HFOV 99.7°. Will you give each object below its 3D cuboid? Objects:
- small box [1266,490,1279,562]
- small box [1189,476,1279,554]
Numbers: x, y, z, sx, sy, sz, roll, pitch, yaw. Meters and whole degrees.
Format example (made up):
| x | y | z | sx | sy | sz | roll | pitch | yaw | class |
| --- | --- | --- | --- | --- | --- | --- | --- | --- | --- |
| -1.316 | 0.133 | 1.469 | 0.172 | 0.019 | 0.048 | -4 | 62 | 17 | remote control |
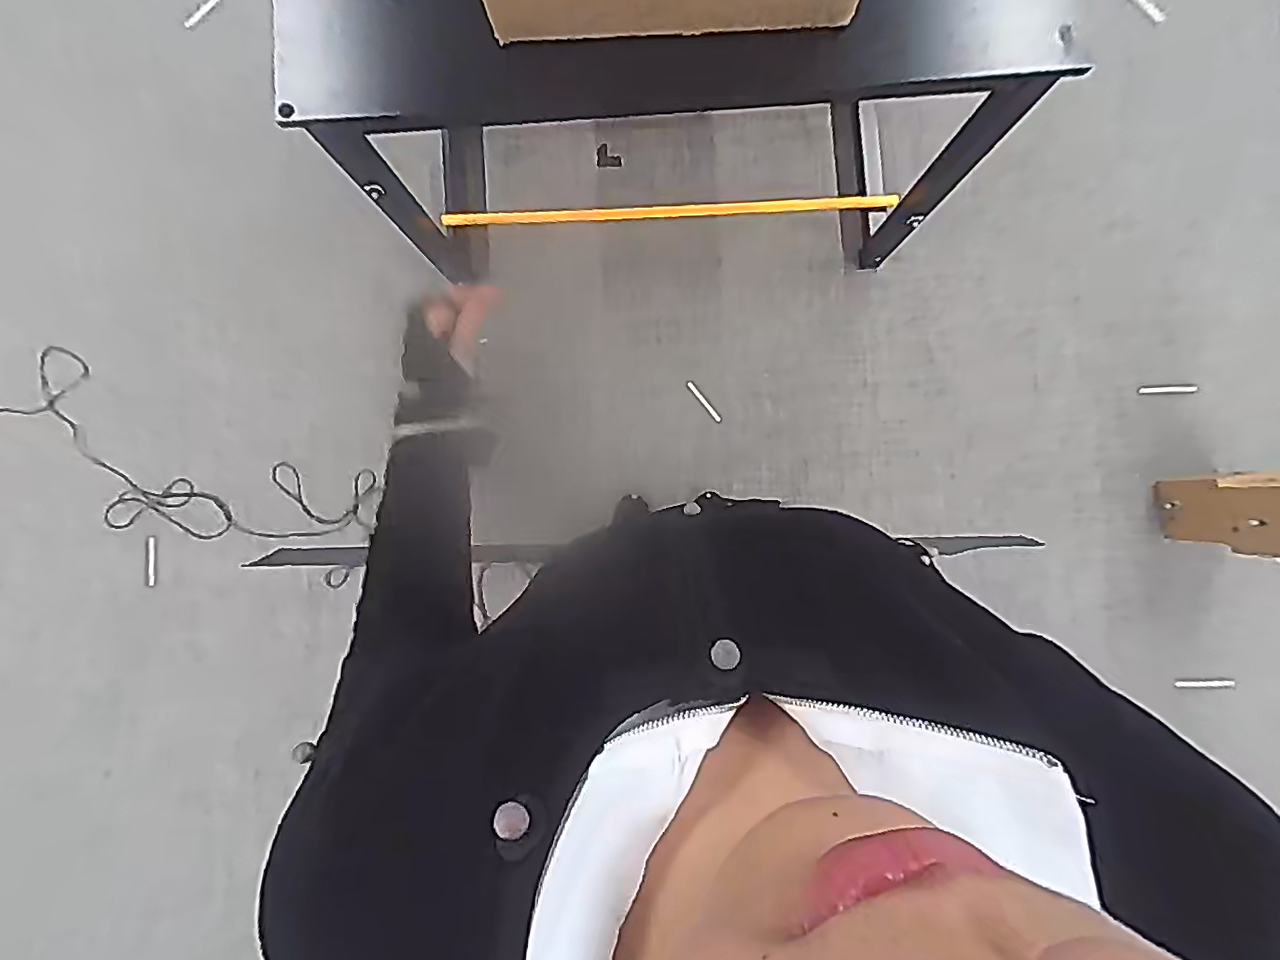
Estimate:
| x | y | z | sx | sy | sz | roll | pitch | yaw | class |
| --- | --- | --- | --- | --- | --- | --- | --- | --- | --- |
| 1.516 | 0.094 | 1.157 | 0.179 | 0.176 | 0.168 | -10 | 88 | 2 | small box |
| 1.519 | 0.080 | 1.321 | 0.179 | 0.176 | 0.168 | -9 | 88 | 2 | small box |
